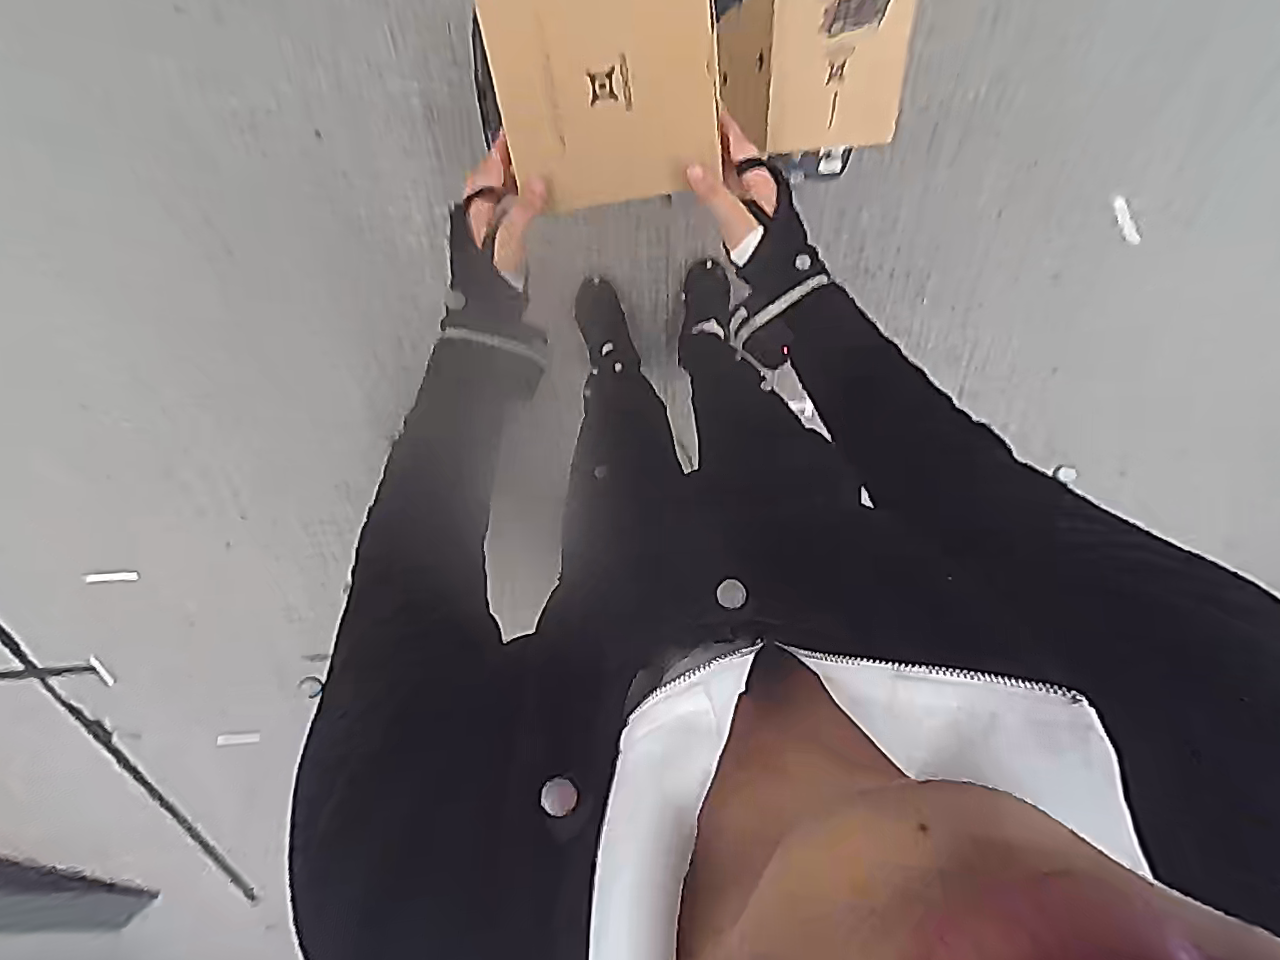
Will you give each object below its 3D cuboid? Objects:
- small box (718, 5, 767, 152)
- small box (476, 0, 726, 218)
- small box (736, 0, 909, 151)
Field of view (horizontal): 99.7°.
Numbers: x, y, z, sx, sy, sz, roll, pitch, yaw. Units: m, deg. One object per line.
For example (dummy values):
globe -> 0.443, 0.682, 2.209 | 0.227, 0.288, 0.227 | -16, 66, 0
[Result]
small box -> 0.206, -0.627, 0.859 | 0.168, 0.176, 0.179 | -5, 123, -1
small box -> -0.029, -0.348, 0.488 | 0.179, 0.176, 0.168 | -10, 121, 2
small box -> 0.227, -0.544, 0.719 | 0.168, 0.176, 0.179 | -5, 123, -1
